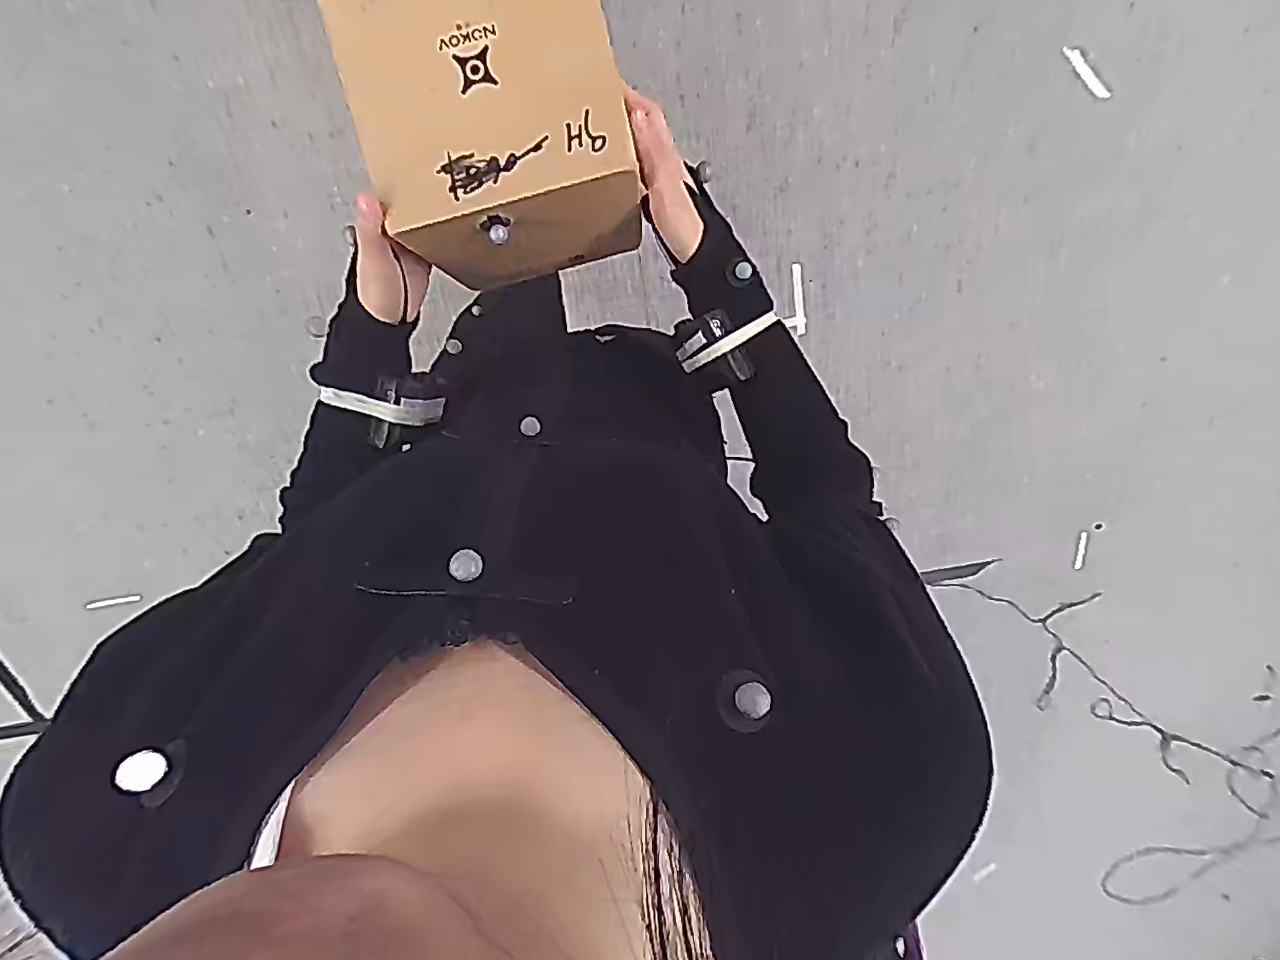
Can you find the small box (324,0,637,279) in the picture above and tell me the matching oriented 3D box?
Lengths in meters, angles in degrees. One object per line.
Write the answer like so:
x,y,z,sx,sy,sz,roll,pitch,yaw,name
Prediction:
-0.101,-0.275,0.405,0.168,0.176,0.179,-14,96,2,small box
